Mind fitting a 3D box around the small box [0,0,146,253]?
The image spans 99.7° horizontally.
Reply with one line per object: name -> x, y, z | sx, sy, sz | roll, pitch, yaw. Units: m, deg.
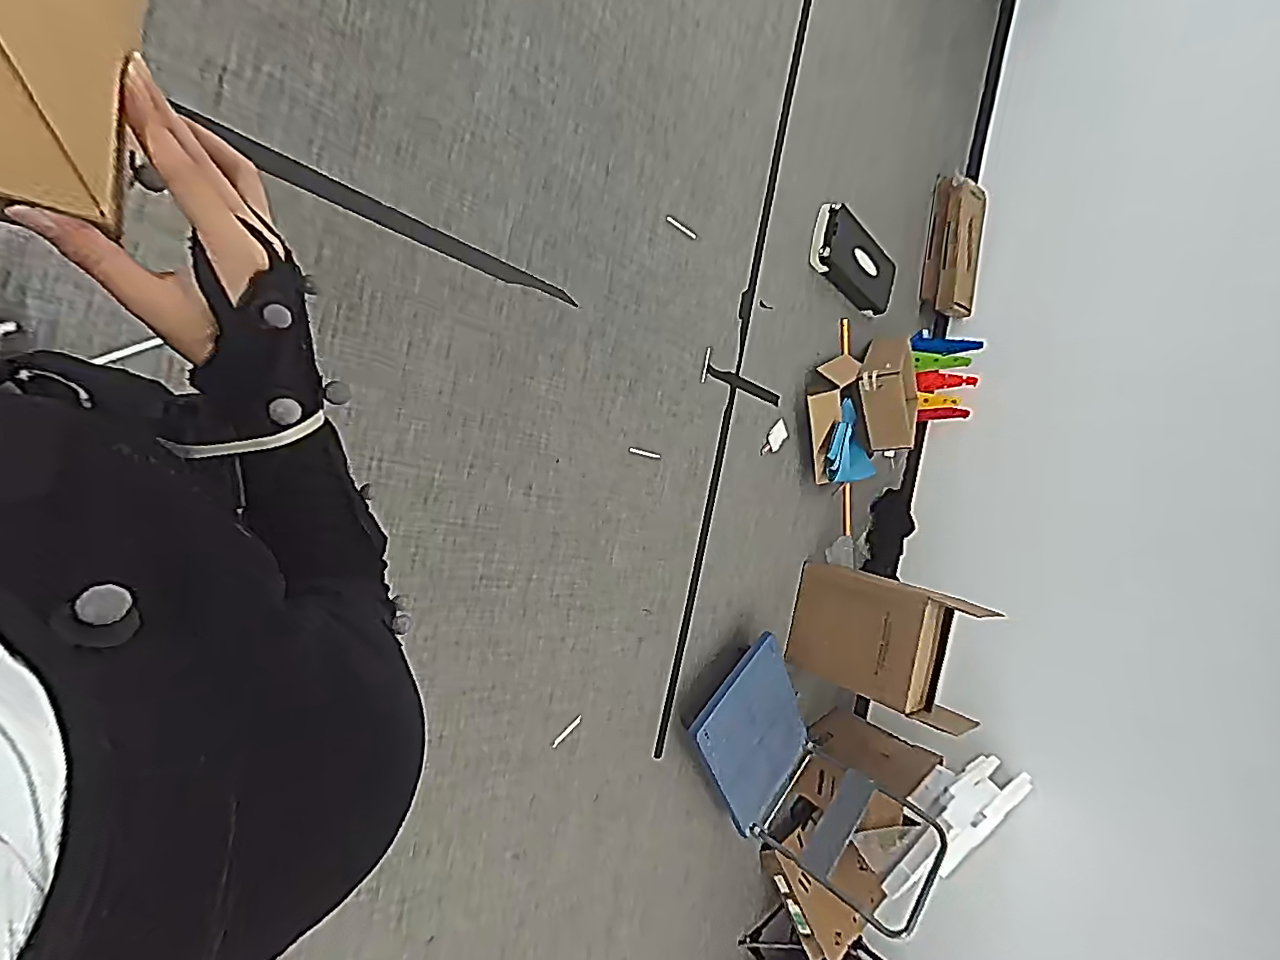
small box -> -0.331, -0.220, 0.235 | 0.168, 0.176, 0.179 | 5, 100, -44
